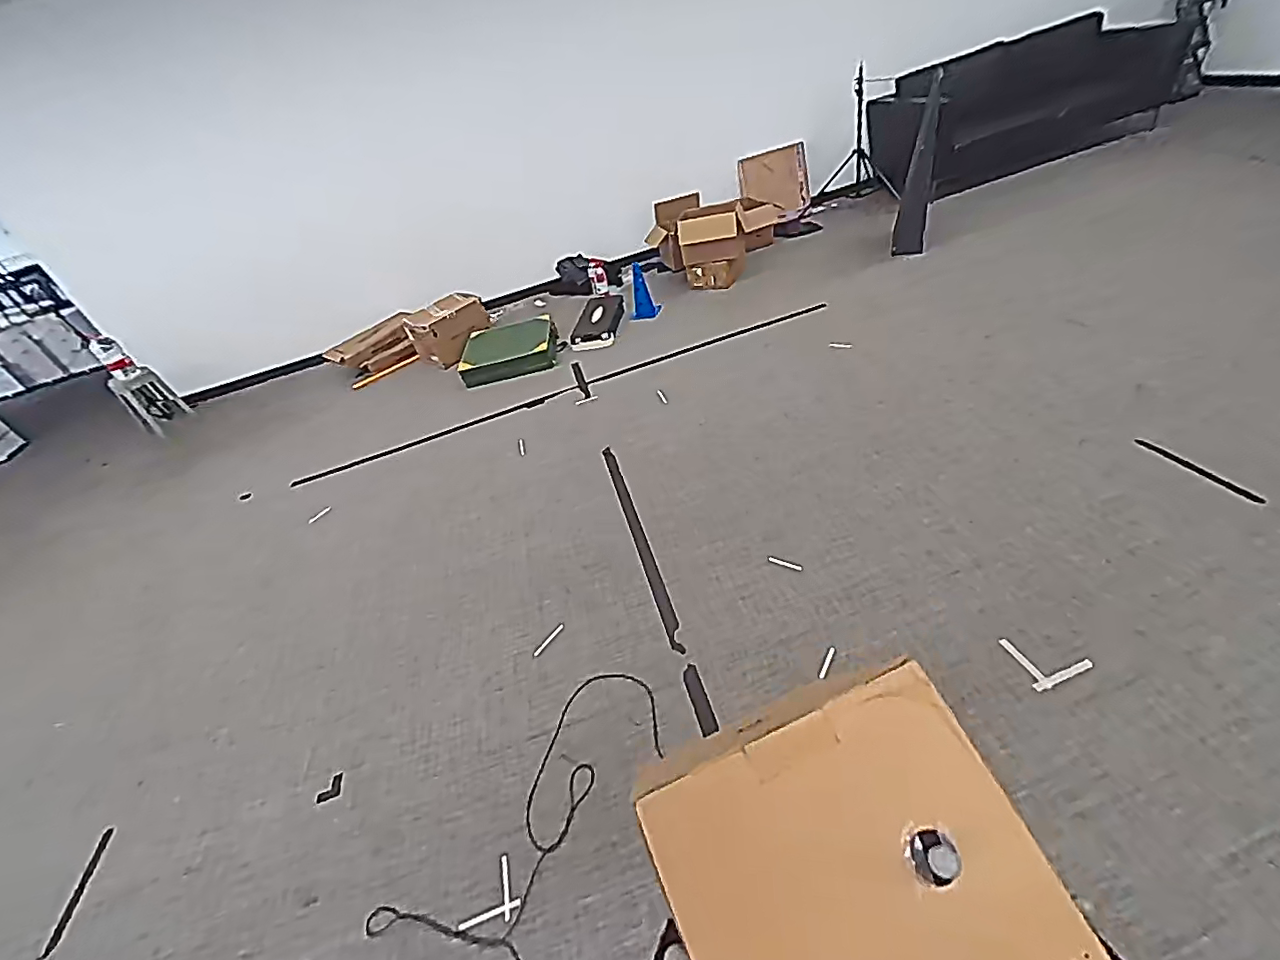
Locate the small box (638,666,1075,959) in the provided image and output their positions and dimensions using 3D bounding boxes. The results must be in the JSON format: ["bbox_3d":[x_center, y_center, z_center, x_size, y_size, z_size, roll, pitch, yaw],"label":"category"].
[{"bbox_3d":[0.109,0.236,0.331,0.168,0.179,0.176,-22,67,-8],"label":"small box"}]
